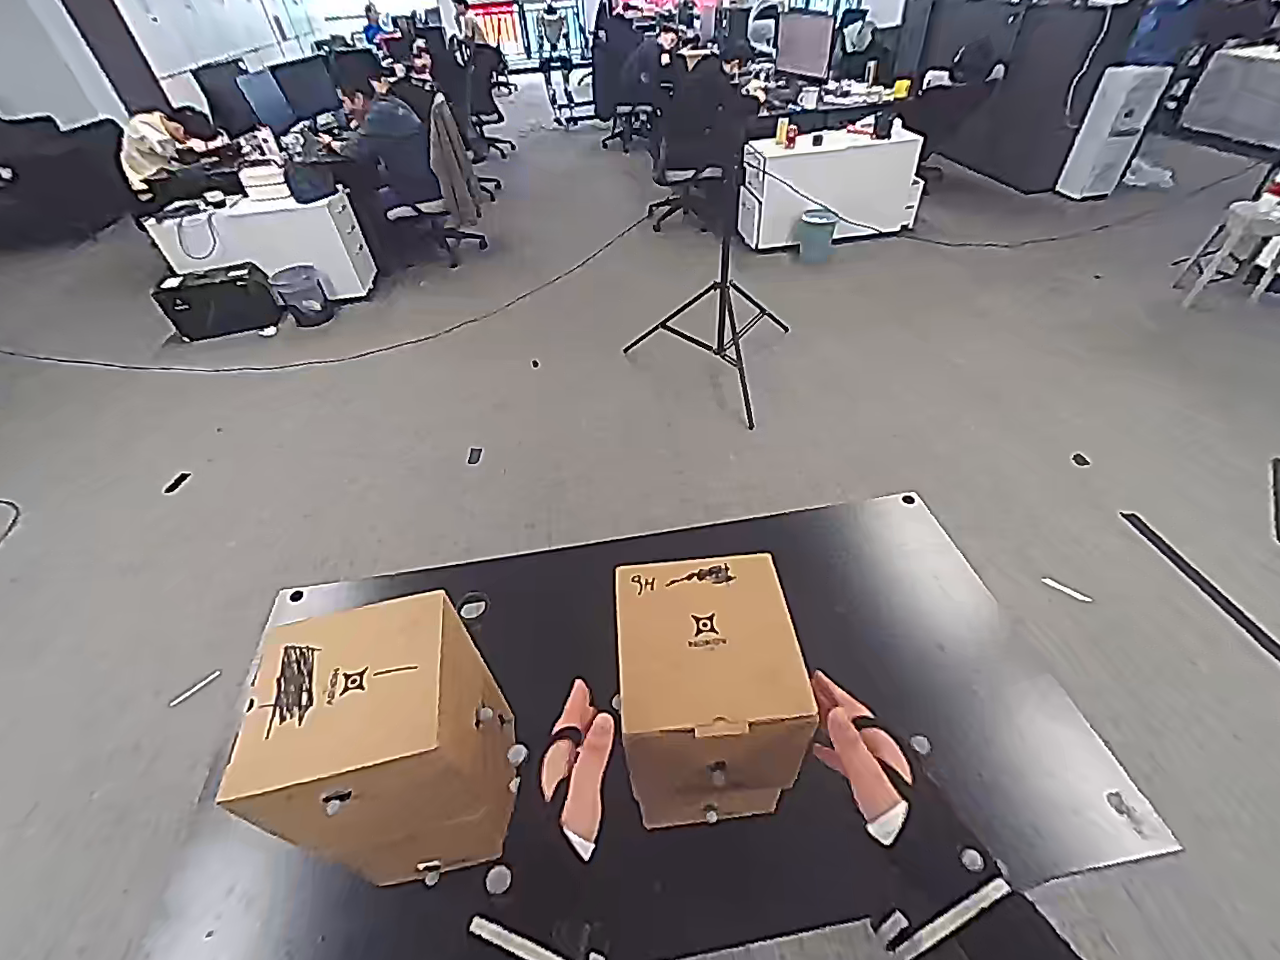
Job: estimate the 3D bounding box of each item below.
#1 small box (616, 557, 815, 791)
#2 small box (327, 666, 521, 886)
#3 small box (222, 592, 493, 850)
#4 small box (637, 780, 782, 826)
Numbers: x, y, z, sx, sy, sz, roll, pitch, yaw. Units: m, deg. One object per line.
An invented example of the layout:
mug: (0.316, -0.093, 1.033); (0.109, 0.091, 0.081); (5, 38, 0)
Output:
small box: (0.066, 0.205, 0.561); (0.168, 0.176, 0.179); (-5, 45, 0)
small box: (-0.249, 0.362, 0.665); (0.168, 0.176, 0.179); (-12, 45, -6)
small box: (-0.260, 0.245, 0.549); (0.179, 0.176, 0.168); (-12, 44, -7)
small box: (0.073, 0.310, 0.687); (0.168, 0.176, 0.179); (-7, 43, -1)
